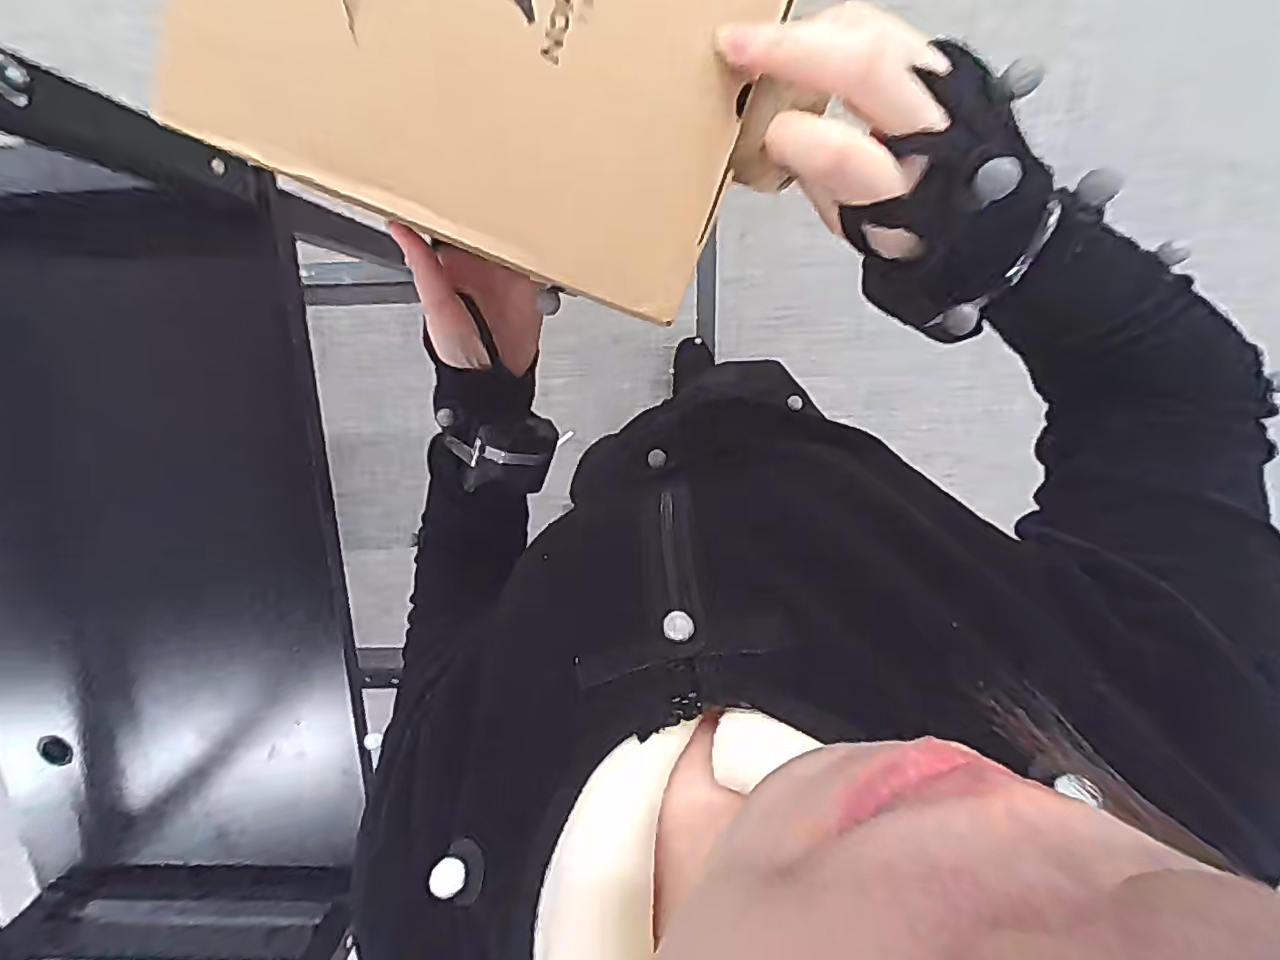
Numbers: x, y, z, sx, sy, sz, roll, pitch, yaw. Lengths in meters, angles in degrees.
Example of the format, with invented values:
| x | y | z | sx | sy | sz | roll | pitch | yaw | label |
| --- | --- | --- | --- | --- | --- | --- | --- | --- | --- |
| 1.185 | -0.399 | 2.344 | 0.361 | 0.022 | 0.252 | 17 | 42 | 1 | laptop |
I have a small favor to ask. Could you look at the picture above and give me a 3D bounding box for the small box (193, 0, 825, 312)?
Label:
| x | y | z | sx | sy | sz | roll | pitch | yaw | label |
| --- | --- | --- | --- | --- | --- | --- | --- | --- | --- |
| -0.043 | -0.189 | 0.238 | 0.179 | 0.176 | 0.168 | 16 | 105 | -18 | small box |
